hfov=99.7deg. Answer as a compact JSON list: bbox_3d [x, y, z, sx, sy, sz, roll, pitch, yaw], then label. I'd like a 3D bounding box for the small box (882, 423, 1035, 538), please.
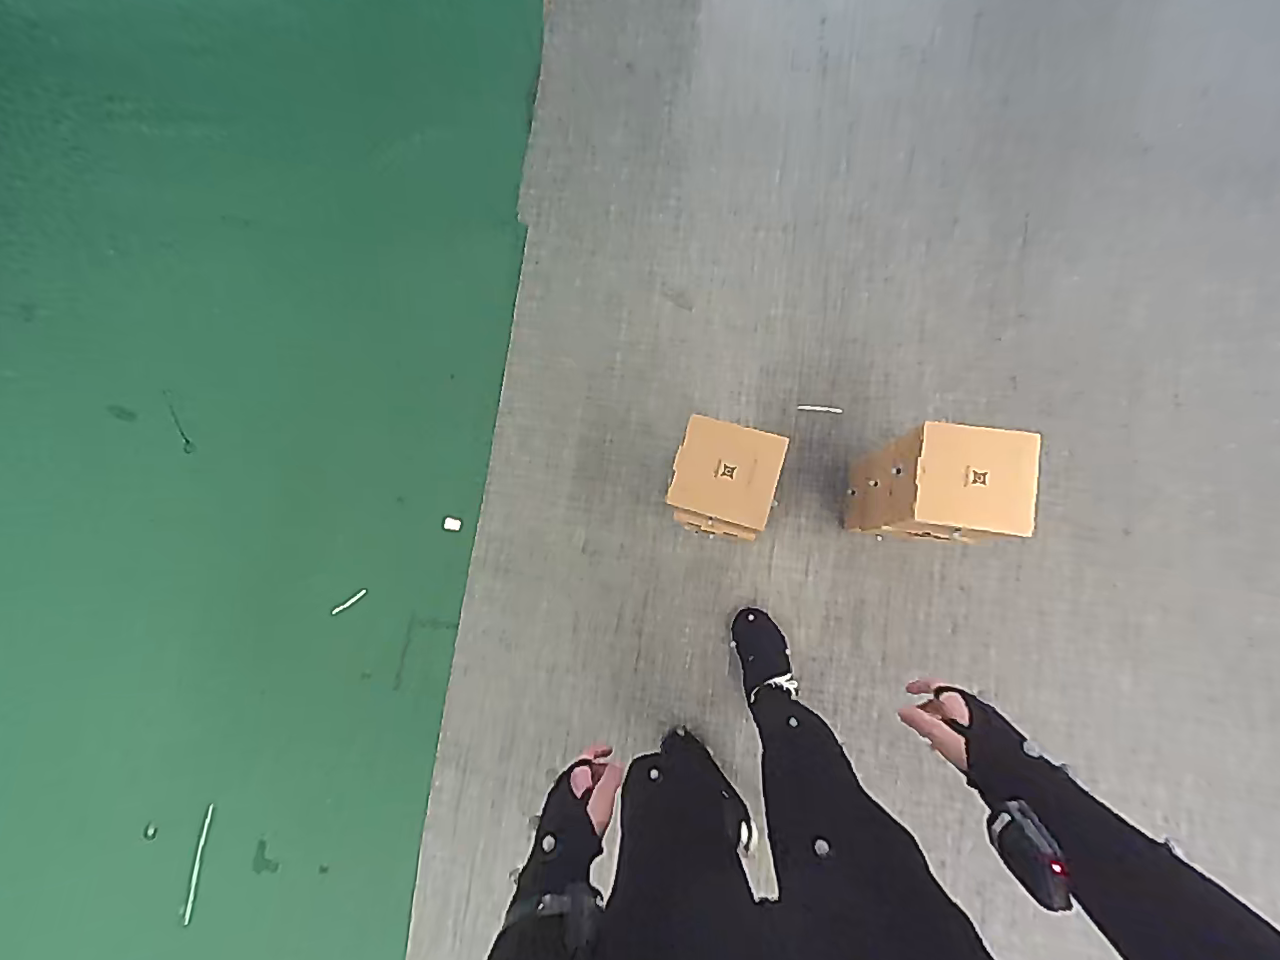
[{"bbox_3d":[0.542,0.008,0.940,0.179,0.176,0.168,7,83,11],"label":"small box"}]

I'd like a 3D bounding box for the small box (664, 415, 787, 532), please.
[{"bbox_3d":[0.159,-0.003,1.008,0.179,0.176,0.168,17,85,11],"label":"small box"}]

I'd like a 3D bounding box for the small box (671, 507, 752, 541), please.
[{"bbox_3d":[0.177,0.029,1.167,0.168,0.176,0.179,14,85,12],"label":"small box"}]

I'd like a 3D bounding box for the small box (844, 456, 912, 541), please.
[{"bbox_3d":[0.585,0.049,1.261,0.179,0.176,0.168,7,84,11],"label":"small box"}]

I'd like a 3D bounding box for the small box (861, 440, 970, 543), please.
[{"bbox_3d":[0.559,0.030,1.100,0.168,0.176,0.179,9,83,11],"label":"small box"}]
